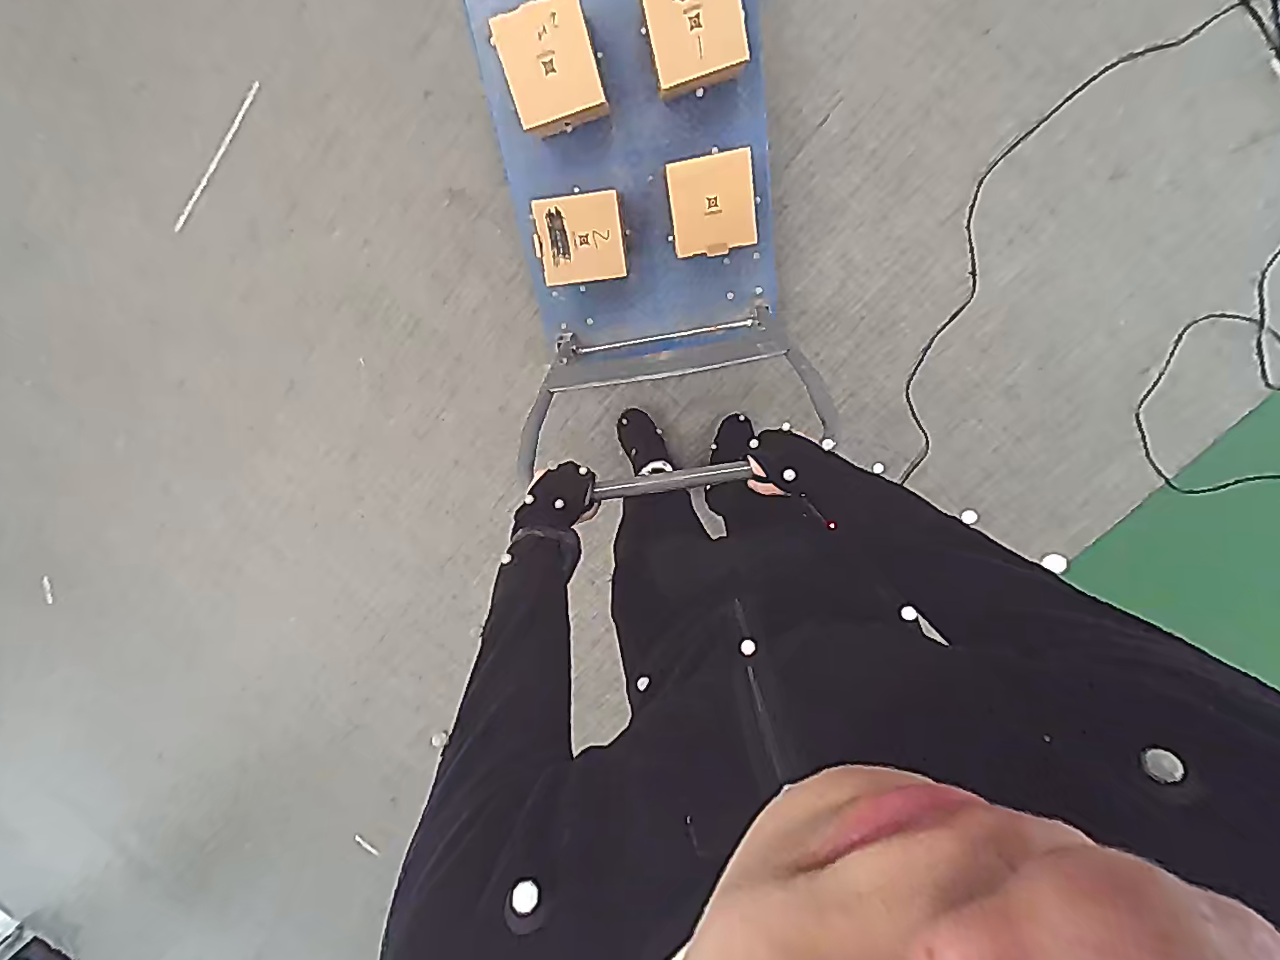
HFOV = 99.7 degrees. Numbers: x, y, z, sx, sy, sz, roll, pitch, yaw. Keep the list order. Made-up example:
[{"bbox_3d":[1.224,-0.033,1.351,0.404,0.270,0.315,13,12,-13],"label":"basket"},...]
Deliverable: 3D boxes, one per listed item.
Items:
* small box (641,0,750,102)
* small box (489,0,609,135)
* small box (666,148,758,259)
[{"bbox_3d":[0.098,-0.840,1.008,0.168,0.176,0.179,-13,117,9],"label":"small box"},{"bbox_3d":[-0.163,-0.787,1.043,0.168,0.176,0.179,-14,116,8],"label":"small box"},{"bbox_3d":[0.148,-0.581,1.145,0.168,0.176,0.179,-9,118,6],"label":"small box"}]
